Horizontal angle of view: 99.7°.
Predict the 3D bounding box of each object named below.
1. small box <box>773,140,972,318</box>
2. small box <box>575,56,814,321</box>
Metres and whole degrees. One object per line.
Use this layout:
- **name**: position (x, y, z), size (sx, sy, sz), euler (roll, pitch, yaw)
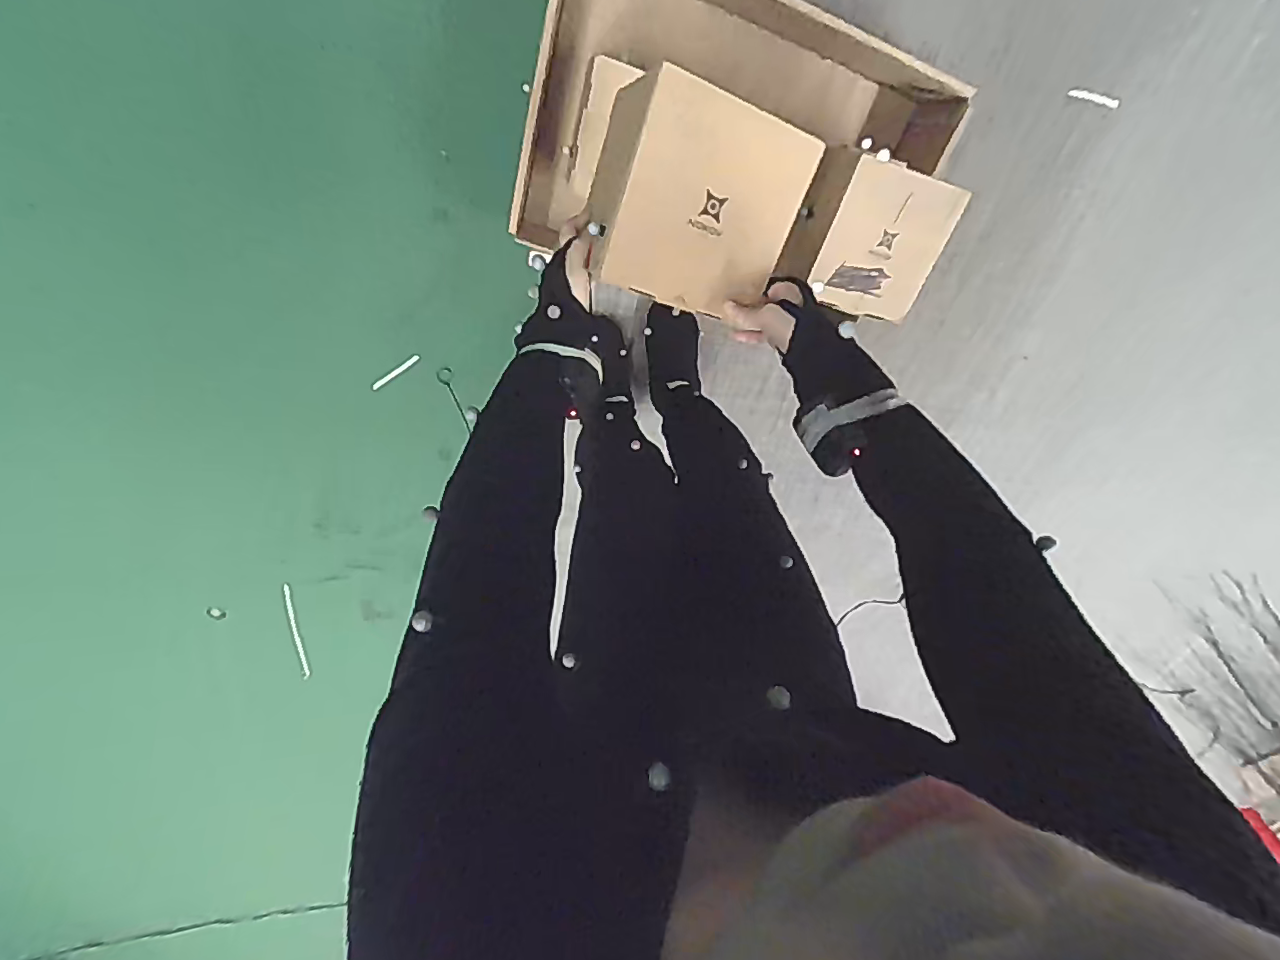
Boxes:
- **small box**: position (0.304, -0.354, 0.758), size (0.168, 0.176, 0.179), euler (9, 123, -13)
- **small box**: position (0.038, -0.291, 0.560), size (0.168, 0.176, 0.179), euler (10, 117, -21)
